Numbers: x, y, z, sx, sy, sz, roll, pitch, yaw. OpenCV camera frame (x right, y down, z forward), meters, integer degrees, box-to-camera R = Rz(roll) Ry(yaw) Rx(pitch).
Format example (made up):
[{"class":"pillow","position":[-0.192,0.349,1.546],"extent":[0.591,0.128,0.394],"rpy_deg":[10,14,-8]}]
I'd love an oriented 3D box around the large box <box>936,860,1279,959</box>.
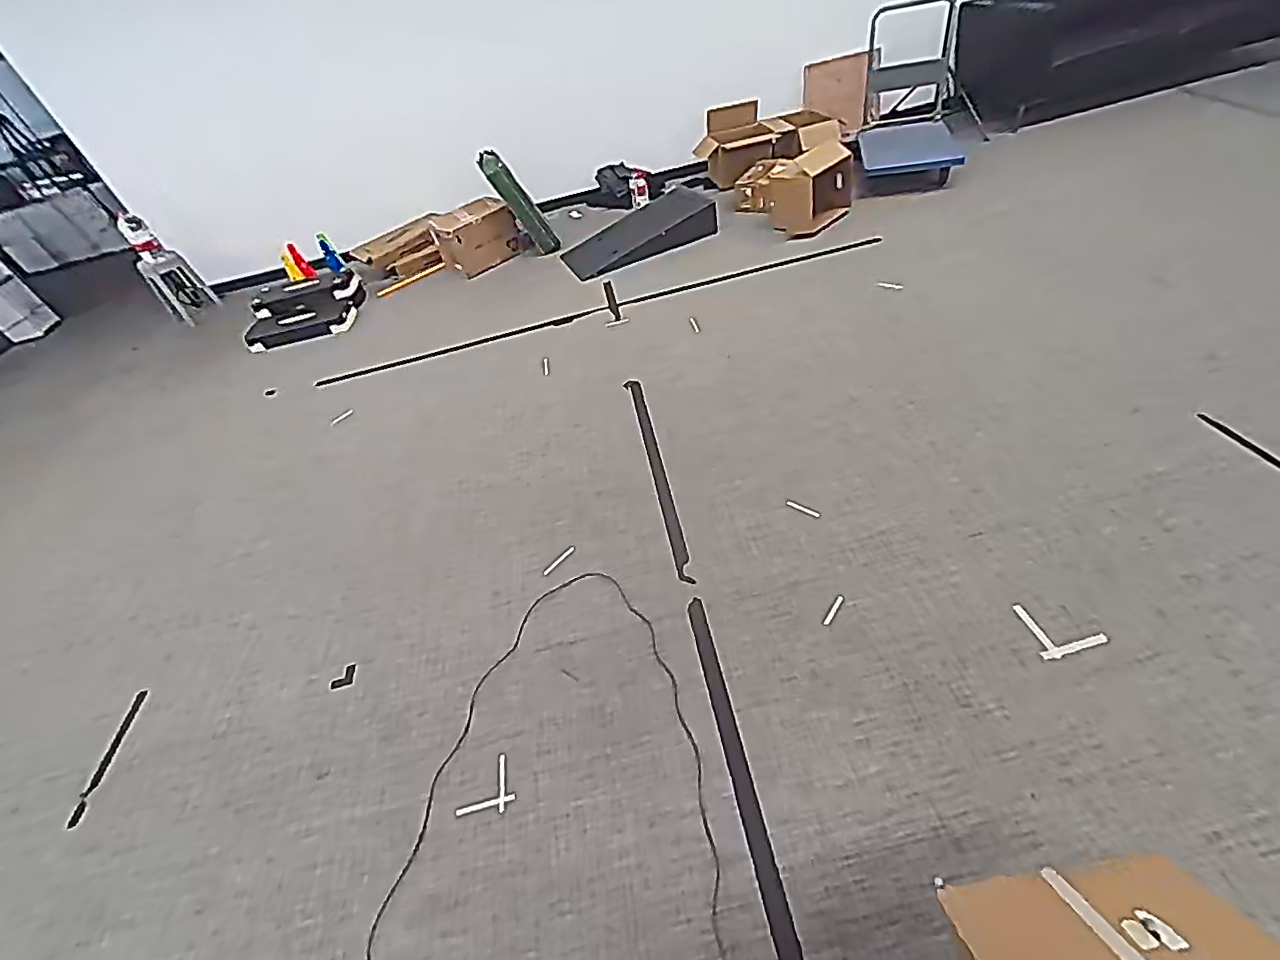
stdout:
[{"class":"large box","position":[0.598,0.705,0.571],"extent":[0.320,0.408,0.320],"rpy_deg":[-13,83,5]}]
